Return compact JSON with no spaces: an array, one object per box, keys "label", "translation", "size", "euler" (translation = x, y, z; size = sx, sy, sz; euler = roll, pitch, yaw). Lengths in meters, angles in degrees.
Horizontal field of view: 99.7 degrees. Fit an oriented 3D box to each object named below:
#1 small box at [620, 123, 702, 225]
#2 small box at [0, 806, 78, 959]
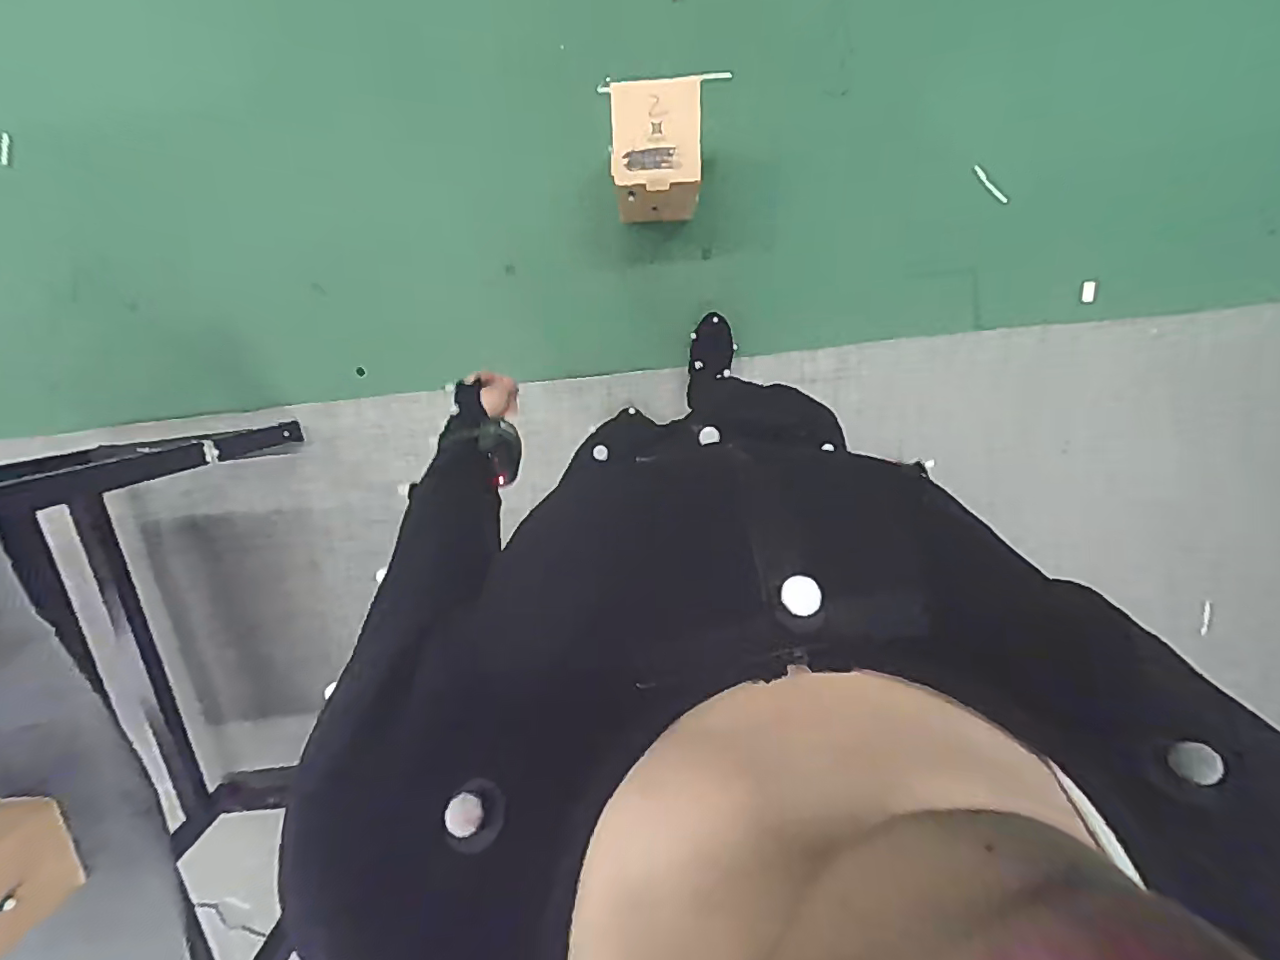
[{"label":"small box","translation":[0.047,-0.691,1.235],"size":[0.179,0.176,0.168],"euler":[-2,104,2]},{"label":"small box","translation":[-1.025,0.631,0.817],"size":[0.168,0.176,0.179],"euler":[-3,104,3]}]
